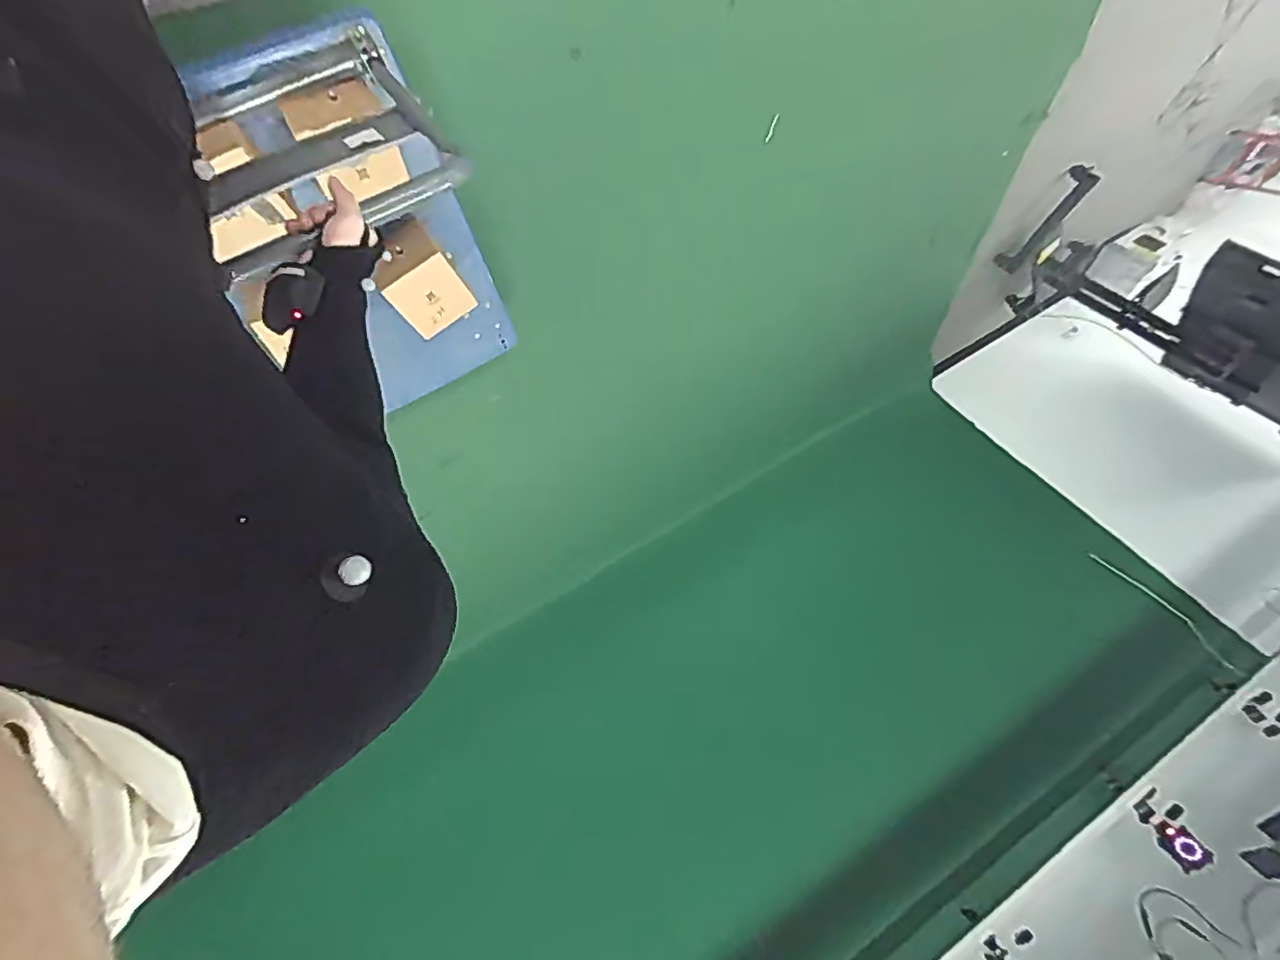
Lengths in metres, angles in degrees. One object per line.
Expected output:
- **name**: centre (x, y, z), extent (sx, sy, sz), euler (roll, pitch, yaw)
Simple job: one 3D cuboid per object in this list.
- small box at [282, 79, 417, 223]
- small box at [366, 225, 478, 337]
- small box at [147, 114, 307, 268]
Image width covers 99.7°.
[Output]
- **small box**: centre (-0.575, -0.655, 1.077), extent (0.168, 0.176, 0.179), euler (-27, 149, -15)
- **small box**: centre (-0.540, -0.498, 1.336), extent (0.168, 0.176, 0.179), euler (-35, 151, -2)
- **small box**: centre (-0.776, -0.546, 1.016), extent (0.179, 0.176, 0.168), euler (-31, 150, -6)
